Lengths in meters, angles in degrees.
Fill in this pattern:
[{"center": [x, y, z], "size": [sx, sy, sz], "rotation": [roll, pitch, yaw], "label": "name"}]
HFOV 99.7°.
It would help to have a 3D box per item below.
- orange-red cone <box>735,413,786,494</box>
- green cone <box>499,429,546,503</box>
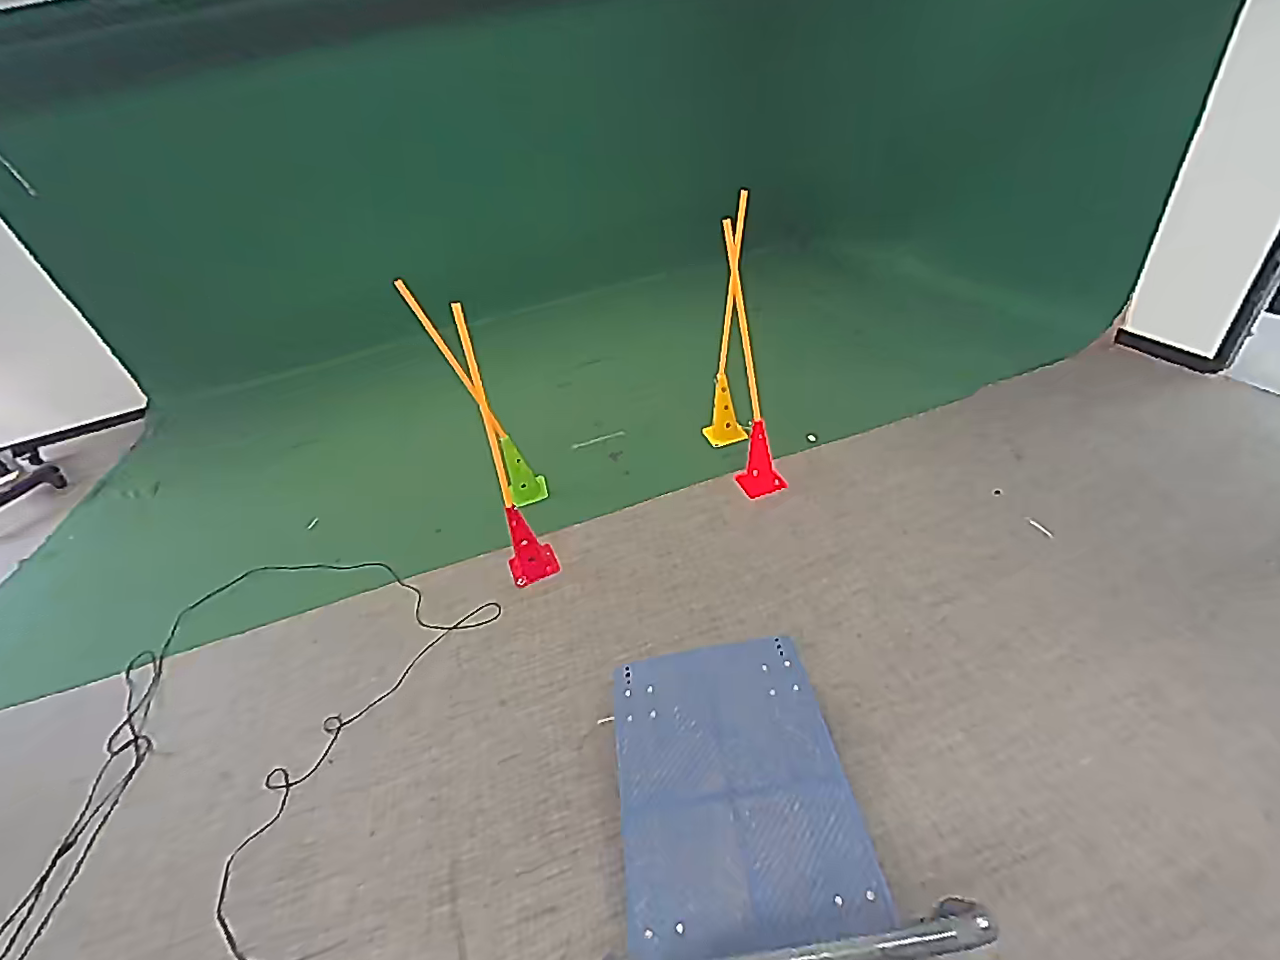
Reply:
[{"center": [0.538, -0.145, 2.453], "size": [0.198, 0.360, 0.199], "rotation": [-17, 36, -7], "label": "orange-red cone"}, {"center": [-0.624, -0.094, 2.705], "size": [0.200, 0.368, 0.202], "rotation": [-18, 37, -6], "label": "green cone"}]
